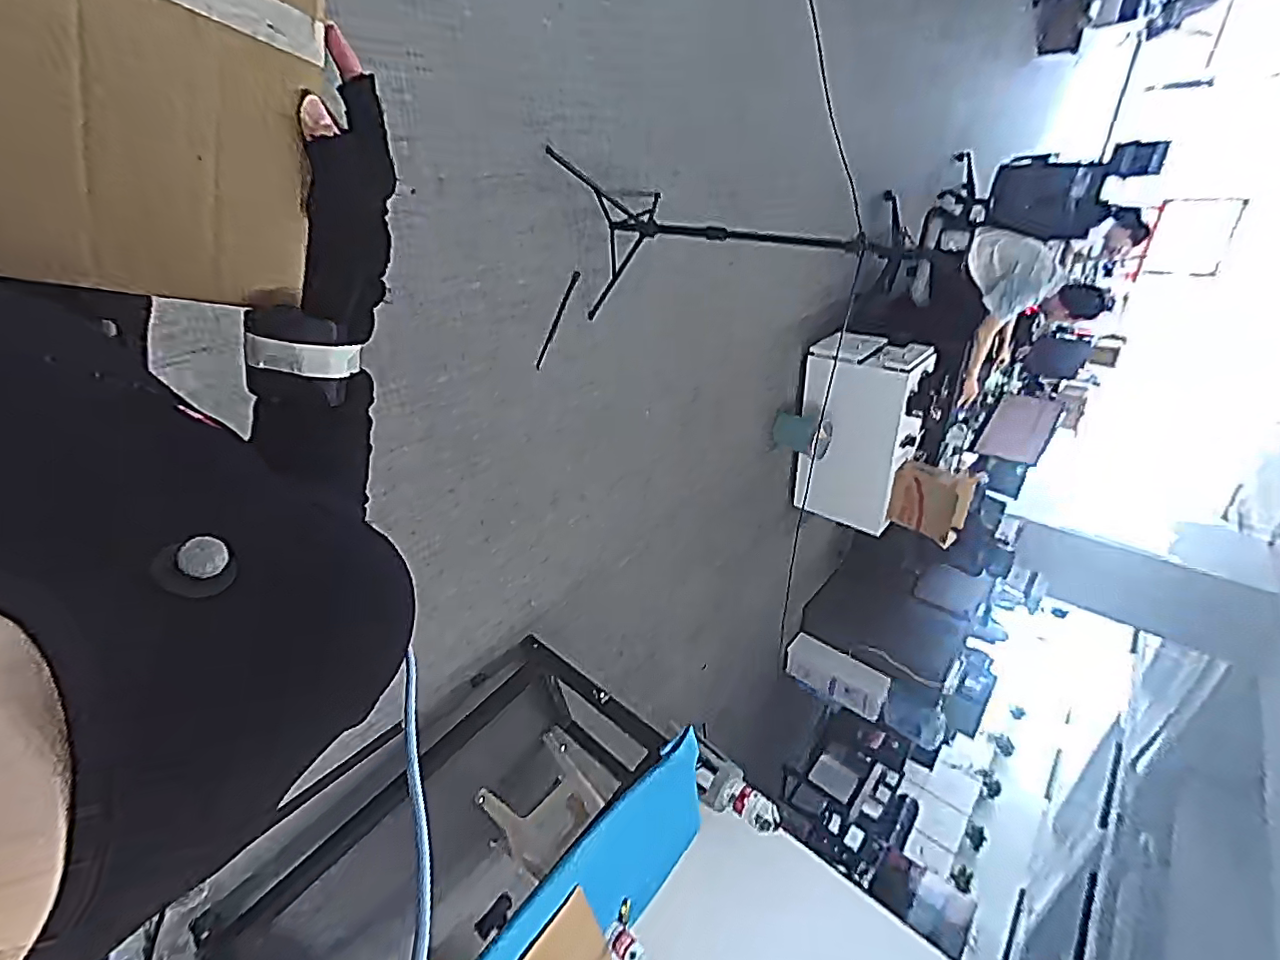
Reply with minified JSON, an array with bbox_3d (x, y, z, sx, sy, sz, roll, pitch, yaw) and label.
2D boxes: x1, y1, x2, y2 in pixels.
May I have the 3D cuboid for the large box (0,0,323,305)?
[{"bbox_3d":[-0.427,-0.306,0.256,0.408,0.320,0.320,-9,128,-49],"label":"large box"}]
